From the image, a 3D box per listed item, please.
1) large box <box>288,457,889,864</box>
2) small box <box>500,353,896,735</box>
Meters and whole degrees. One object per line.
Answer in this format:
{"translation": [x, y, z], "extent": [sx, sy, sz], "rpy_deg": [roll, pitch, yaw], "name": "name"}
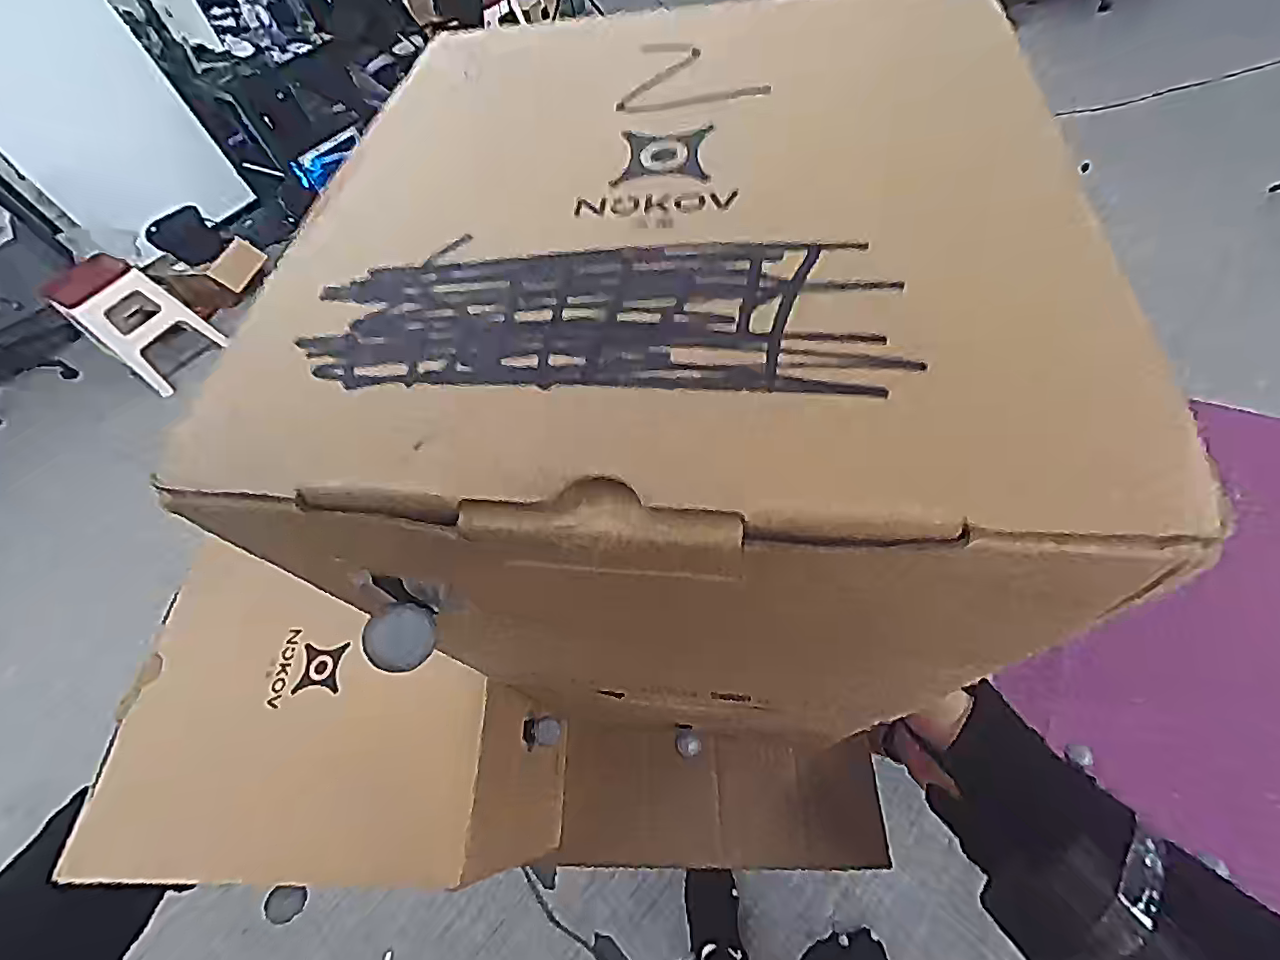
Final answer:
{"translation": [-0.027, 0.179, 0.547], "extent": [0.408, 0.320, 0.320], "rpy_deg": [-5, 59, 6], "name": "large box"}
{"translation": [0.039, 0.044, 0.329], "extent": [0.168, 0.176, 0.179], "rpy_deg": [2, 60, 10], "name": "small box"}
